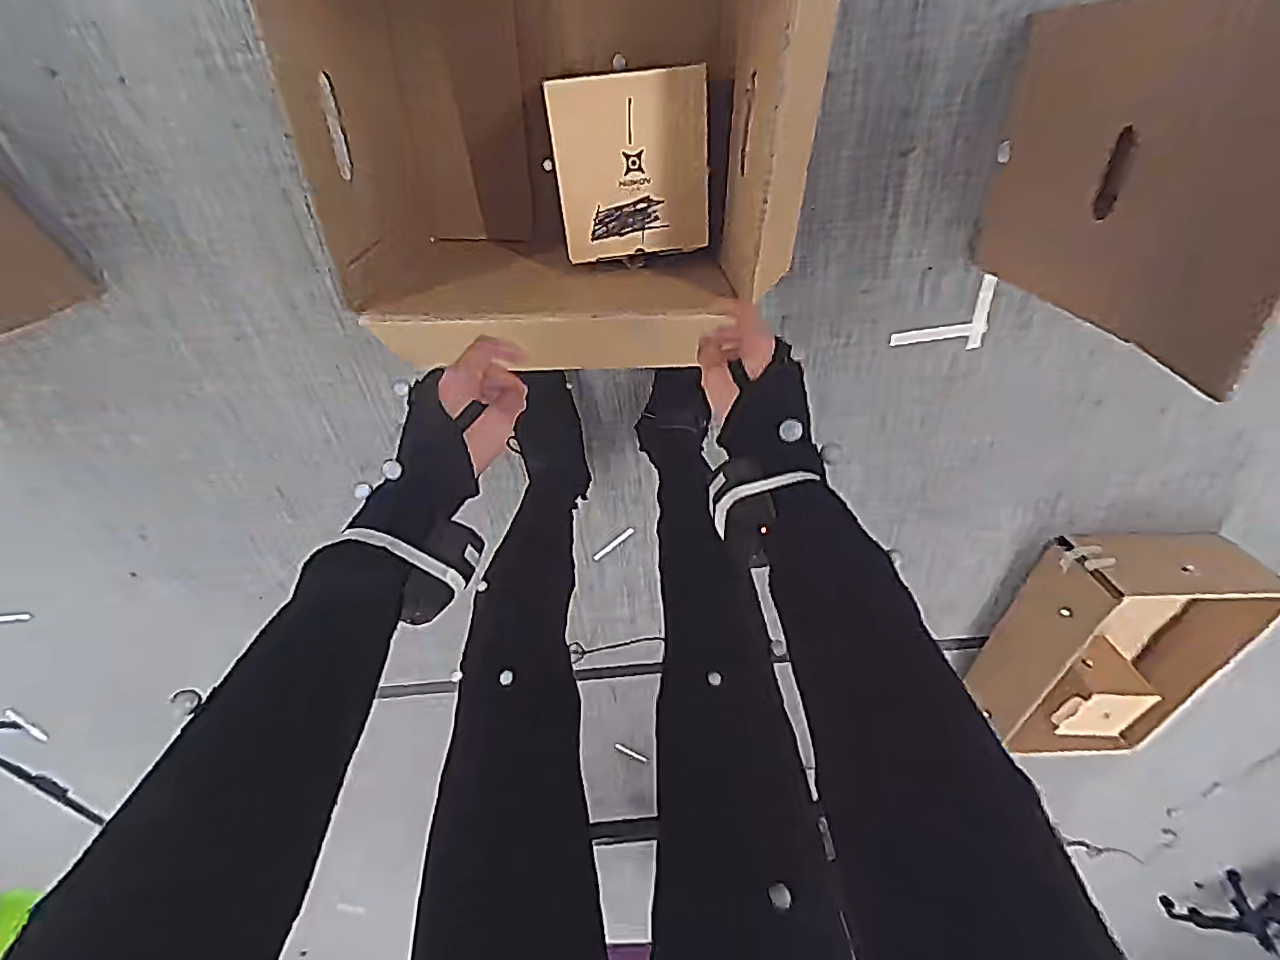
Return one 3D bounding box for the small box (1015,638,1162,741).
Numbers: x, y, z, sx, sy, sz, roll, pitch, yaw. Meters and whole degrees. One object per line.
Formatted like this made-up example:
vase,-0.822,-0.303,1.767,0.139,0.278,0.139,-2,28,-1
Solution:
small box,1.059,0.499,1.298,0.179,0.176,0.168,6,125,-8
